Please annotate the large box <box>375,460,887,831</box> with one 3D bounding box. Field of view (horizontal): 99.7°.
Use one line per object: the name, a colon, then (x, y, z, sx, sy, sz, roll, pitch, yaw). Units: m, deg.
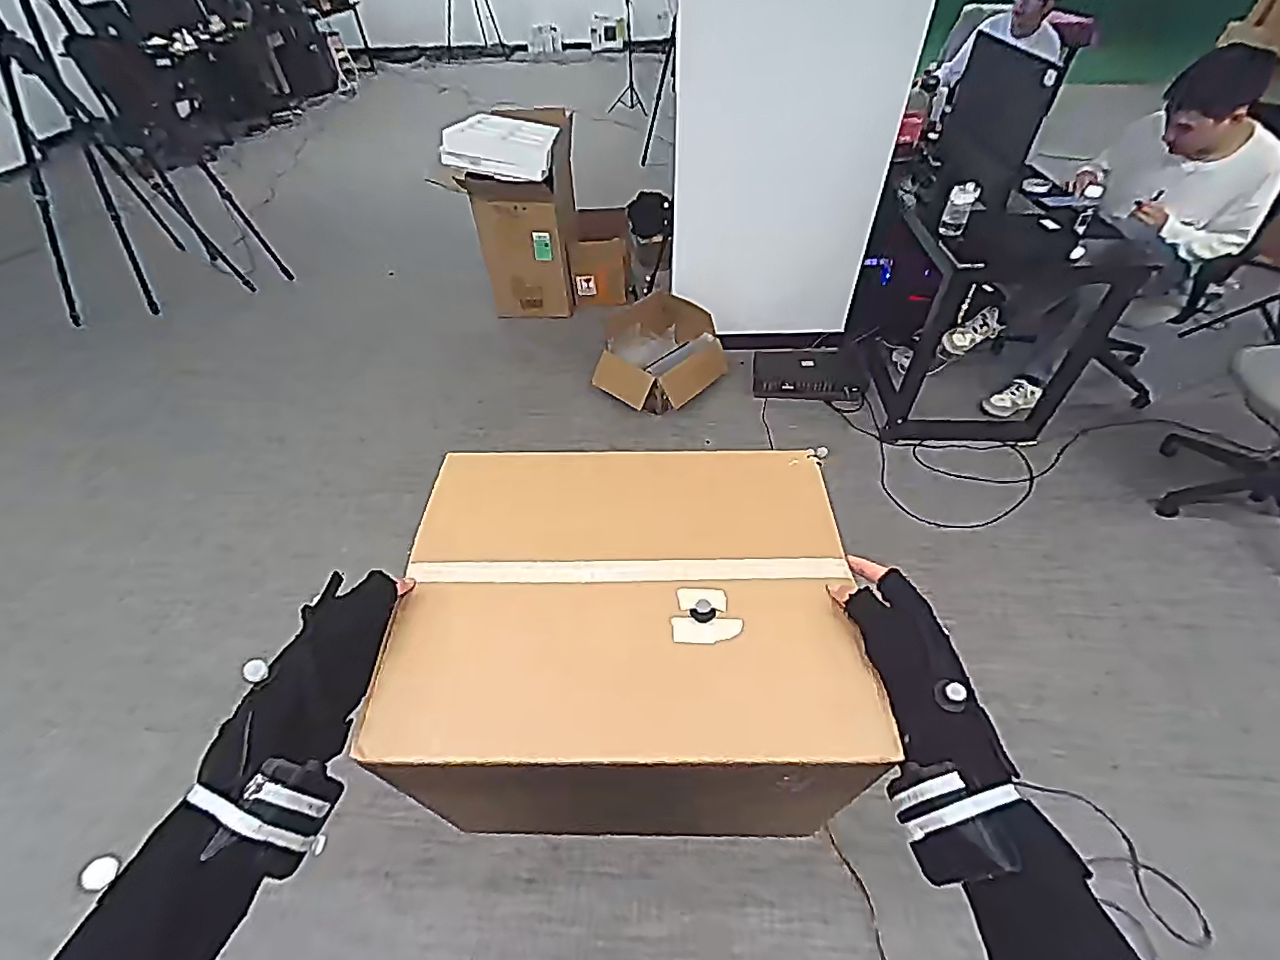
large box: (-0.008, 0.192, 0.621, 0.408, 0.320, 0.320, 0, 48, 1)
